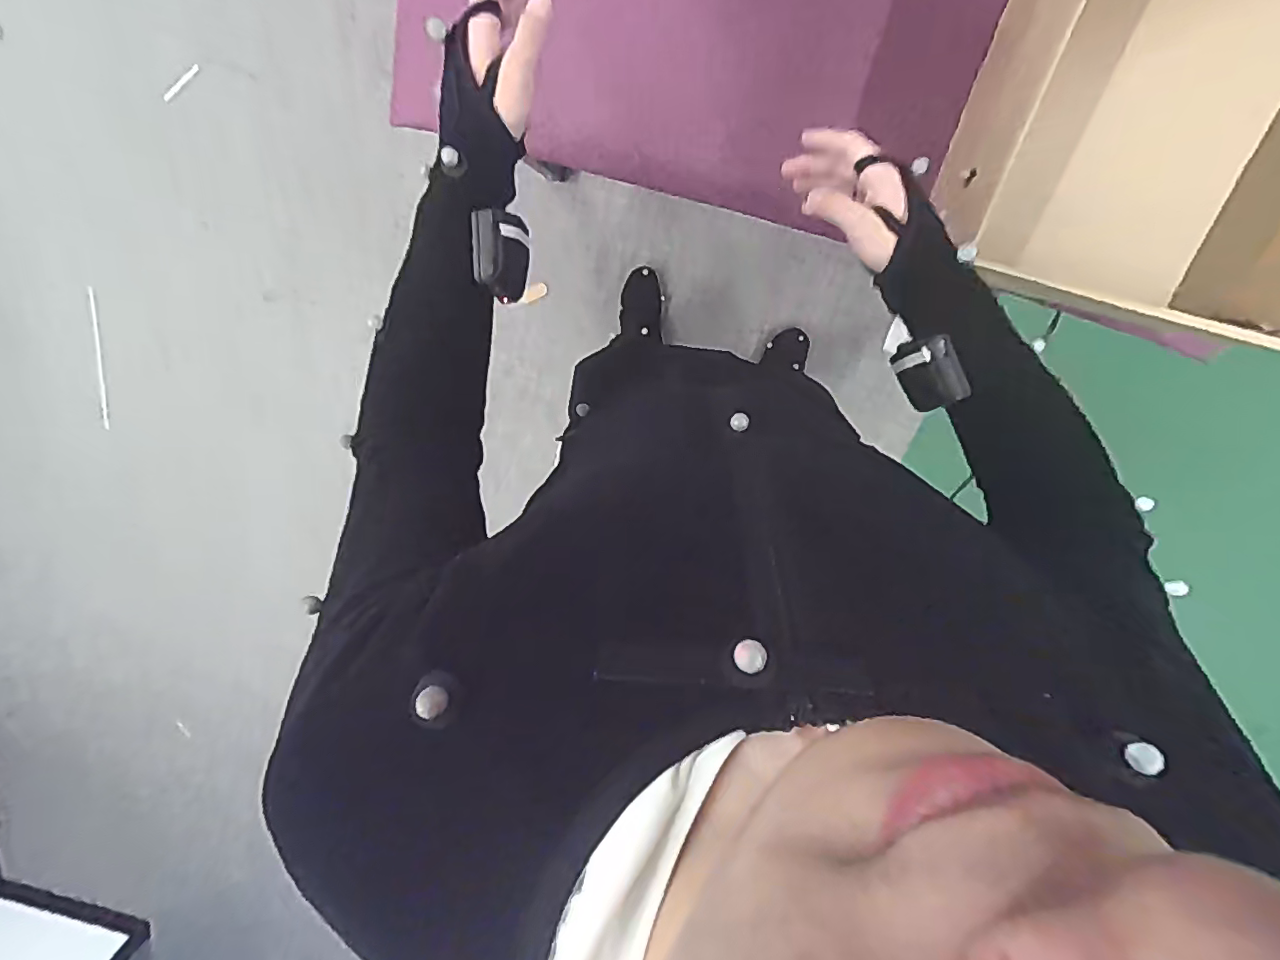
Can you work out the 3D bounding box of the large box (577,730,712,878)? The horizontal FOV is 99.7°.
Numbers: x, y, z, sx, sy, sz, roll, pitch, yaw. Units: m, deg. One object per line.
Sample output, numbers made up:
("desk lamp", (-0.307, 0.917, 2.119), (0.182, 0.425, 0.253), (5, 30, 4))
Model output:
("large box", (0.028, 1.173, 1.976), (0.408, 0.320, 0.320), (-15, 109, 10))
